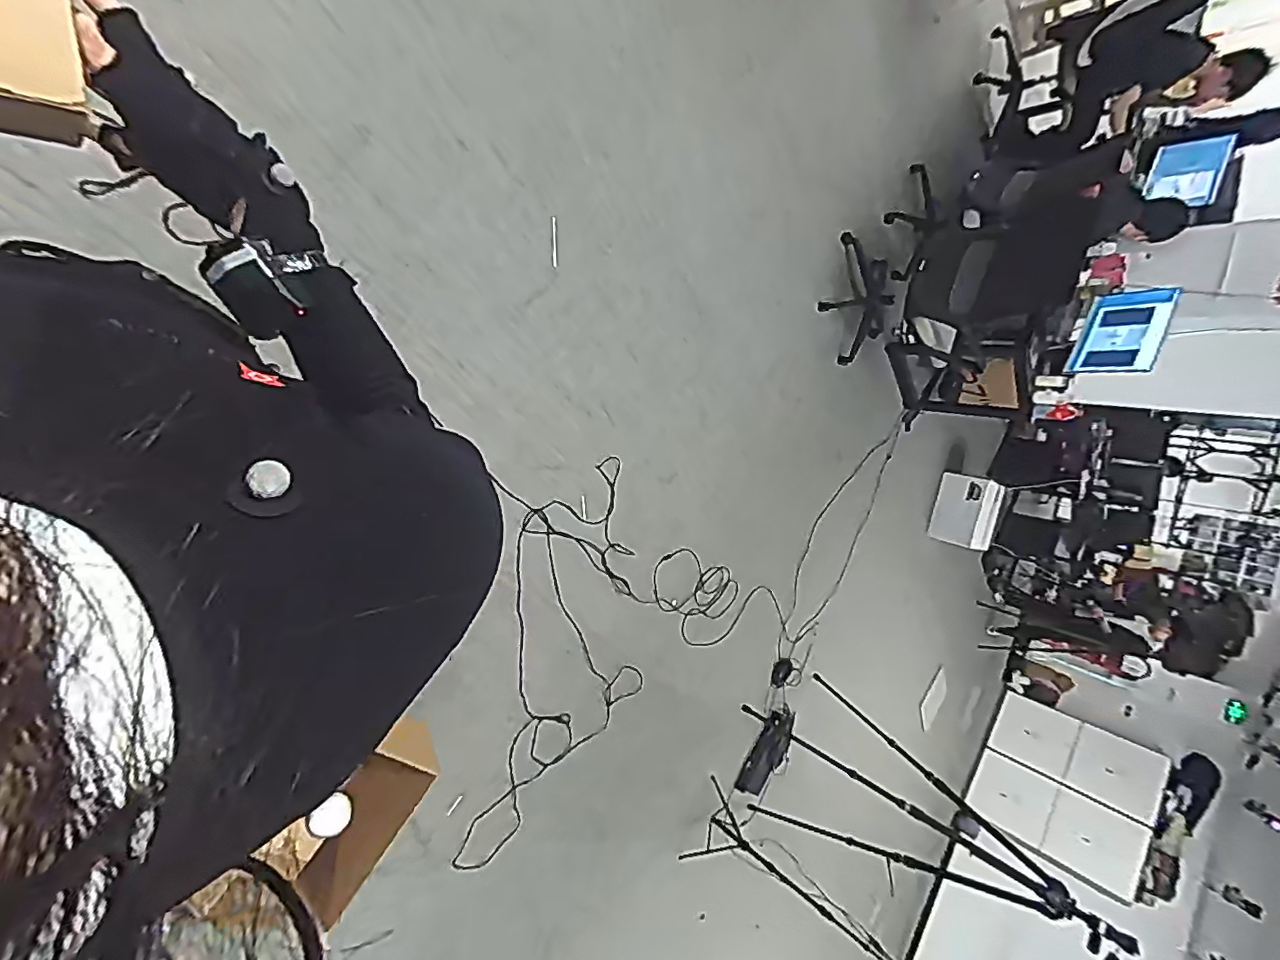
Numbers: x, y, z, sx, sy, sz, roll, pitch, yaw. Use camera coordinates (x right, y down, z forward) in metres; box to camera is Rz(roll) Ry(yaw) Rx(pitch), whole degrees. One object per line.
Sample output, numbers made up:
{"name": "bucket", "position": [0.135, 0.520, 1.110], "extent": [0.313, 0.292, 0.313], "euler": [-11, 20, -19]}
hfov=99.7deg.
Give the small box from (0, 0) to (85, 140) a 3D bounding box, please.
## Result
{"name": "small box", "position": [-0.430, -0.308, 0.286], "extent": [0.168, 0.176, 0.179], "euler": [-12, 115, -44]}
